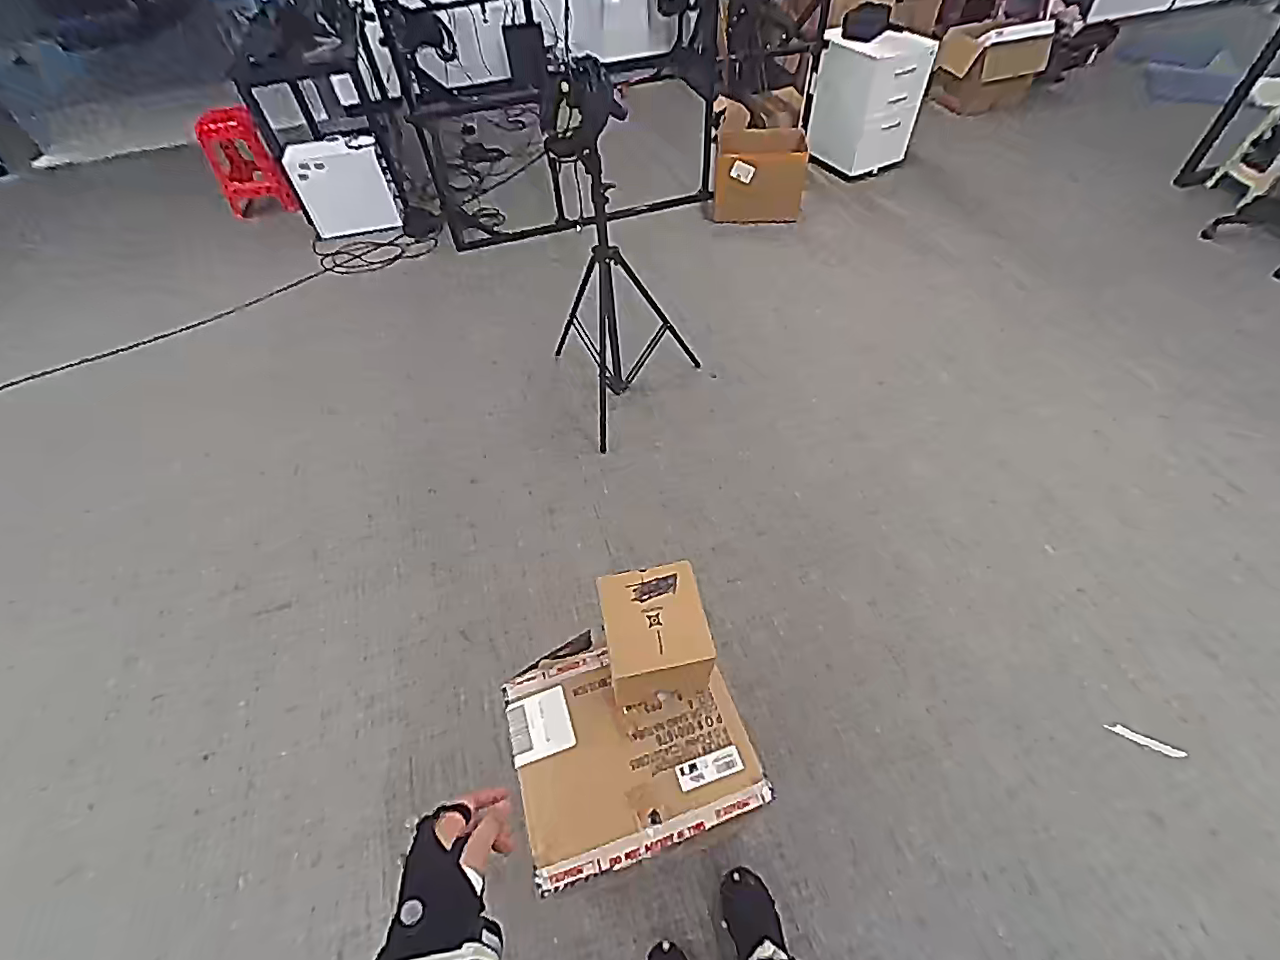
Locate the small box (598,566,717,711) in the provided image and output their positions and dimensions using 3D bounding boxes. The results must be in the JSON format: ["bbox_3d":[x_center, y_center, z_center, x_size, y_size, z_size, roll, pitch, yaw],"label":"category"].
[{"bbox_3d":[0.022,0.274,0.931,0.168,0.176,0.179,-9,54,-7],"label":"small box"}]
